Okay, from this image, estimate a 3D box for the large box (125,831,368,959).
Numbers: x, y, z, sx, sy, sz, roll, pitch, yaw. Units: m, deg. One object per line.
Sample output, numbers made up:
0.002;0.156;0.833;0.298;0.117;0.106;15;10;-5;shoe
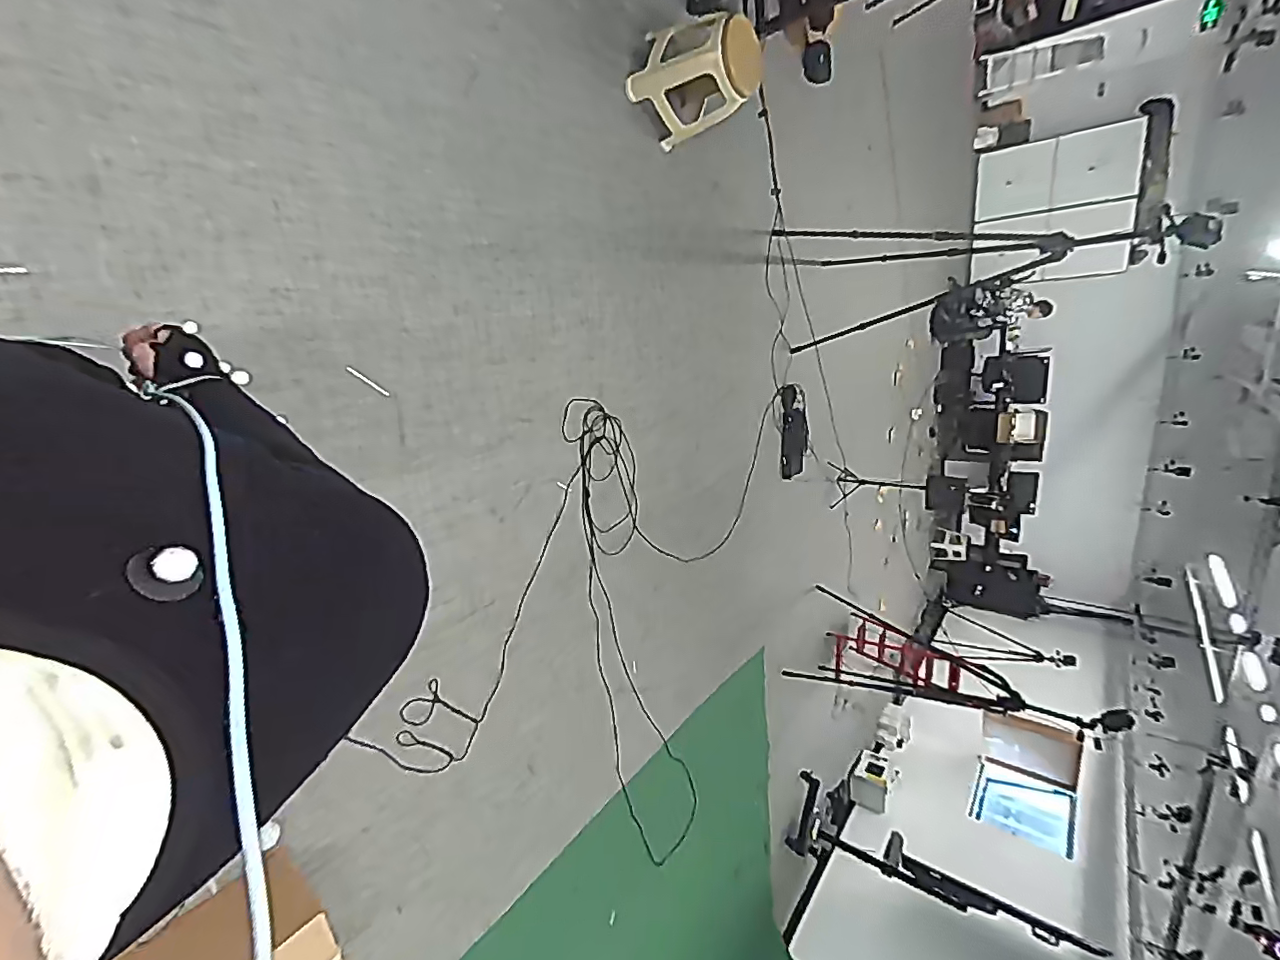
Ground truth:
-1.001;1.246;1.403;0.408;0.320;0.320;-25;114;-44;large box
